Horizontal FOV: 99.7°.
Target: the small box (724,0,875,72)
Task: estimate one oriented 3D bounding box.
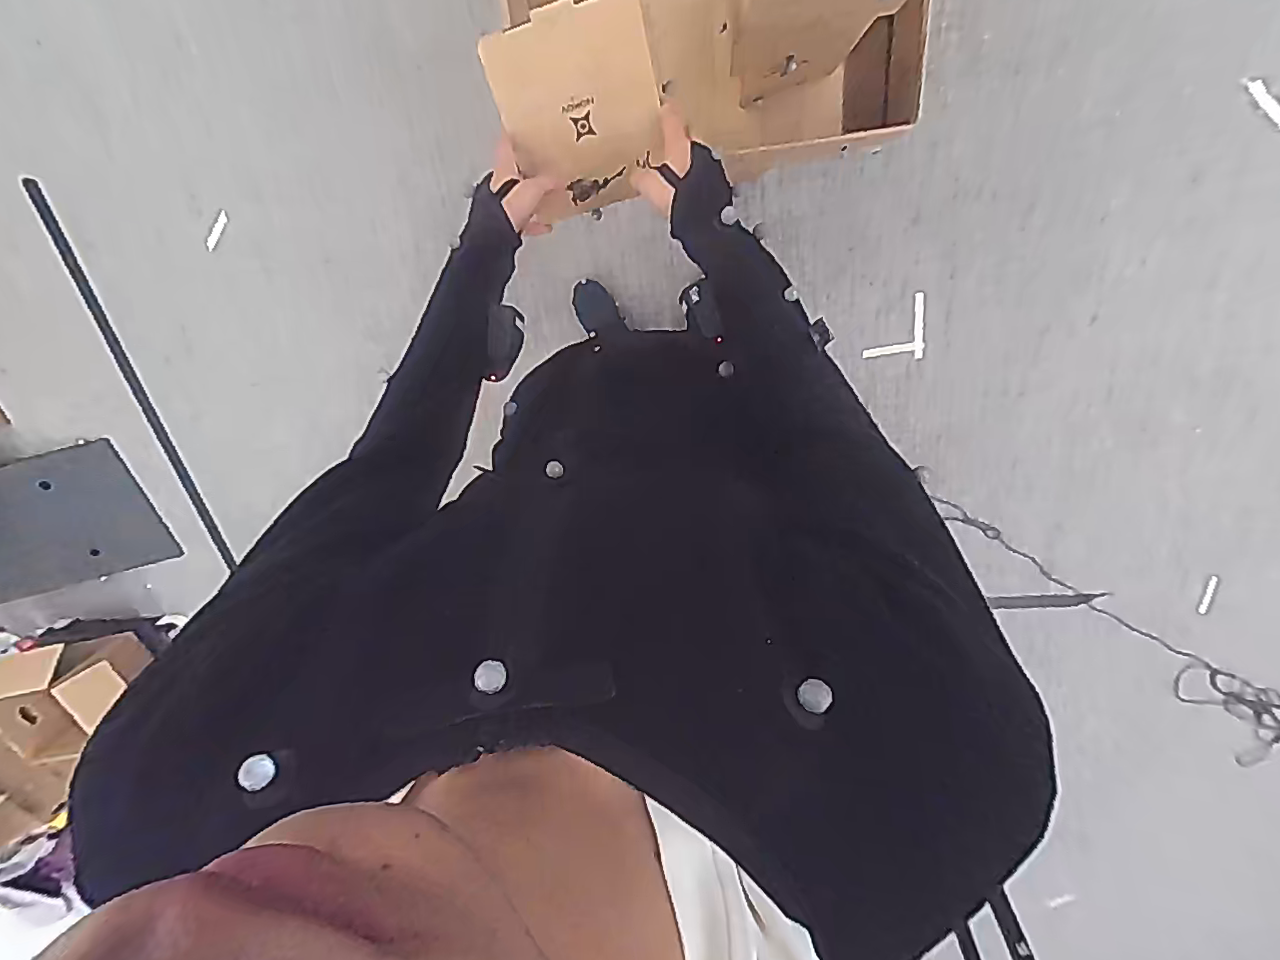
[{"bbox_3d":[0.187,-0.642,0.668,0.168,0.176,0.179,-4,115,10],"label":"small box"}]

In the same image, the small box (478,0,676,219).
[{"bbox_3d":[-0.056,-0.426,0.623,0.168,0.176,0.179,-10,124,12],"label":"small box"}]
